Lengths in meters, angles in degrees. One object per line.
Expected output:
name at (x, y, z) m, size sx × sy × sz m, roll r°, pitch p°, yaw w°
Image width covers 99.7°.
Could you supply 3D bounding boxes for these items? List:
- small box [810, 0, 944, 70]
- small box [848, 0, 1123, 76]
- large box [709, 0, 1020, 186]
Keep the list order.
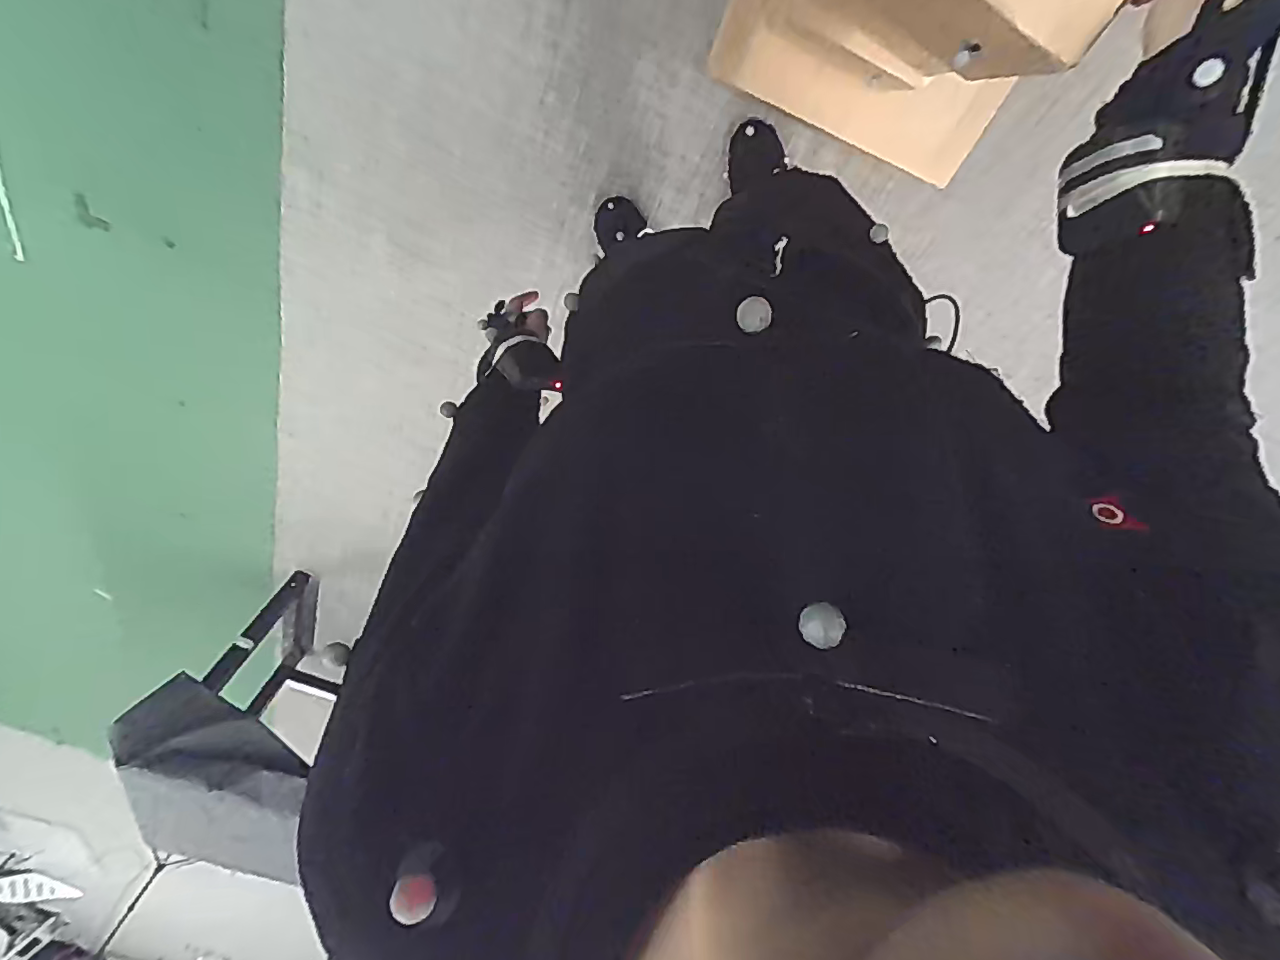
small box at (0.275, -0.505, 0.491) m, size 0.179 × 0.176 × 0.168 m, roll 24°, pitch 123°, yaw -10°
small box at (0.248, -0.407, 0.363) m, size 0.179 × 0.176 × 0.168 m, roll 25°, pitch 122°, yaw -10°
large box at (0.350, -0.710, 0.836) m, size 0.408 × 0.320 × 0.320 m, roll 20°, pitch 126°, yaw -8°
